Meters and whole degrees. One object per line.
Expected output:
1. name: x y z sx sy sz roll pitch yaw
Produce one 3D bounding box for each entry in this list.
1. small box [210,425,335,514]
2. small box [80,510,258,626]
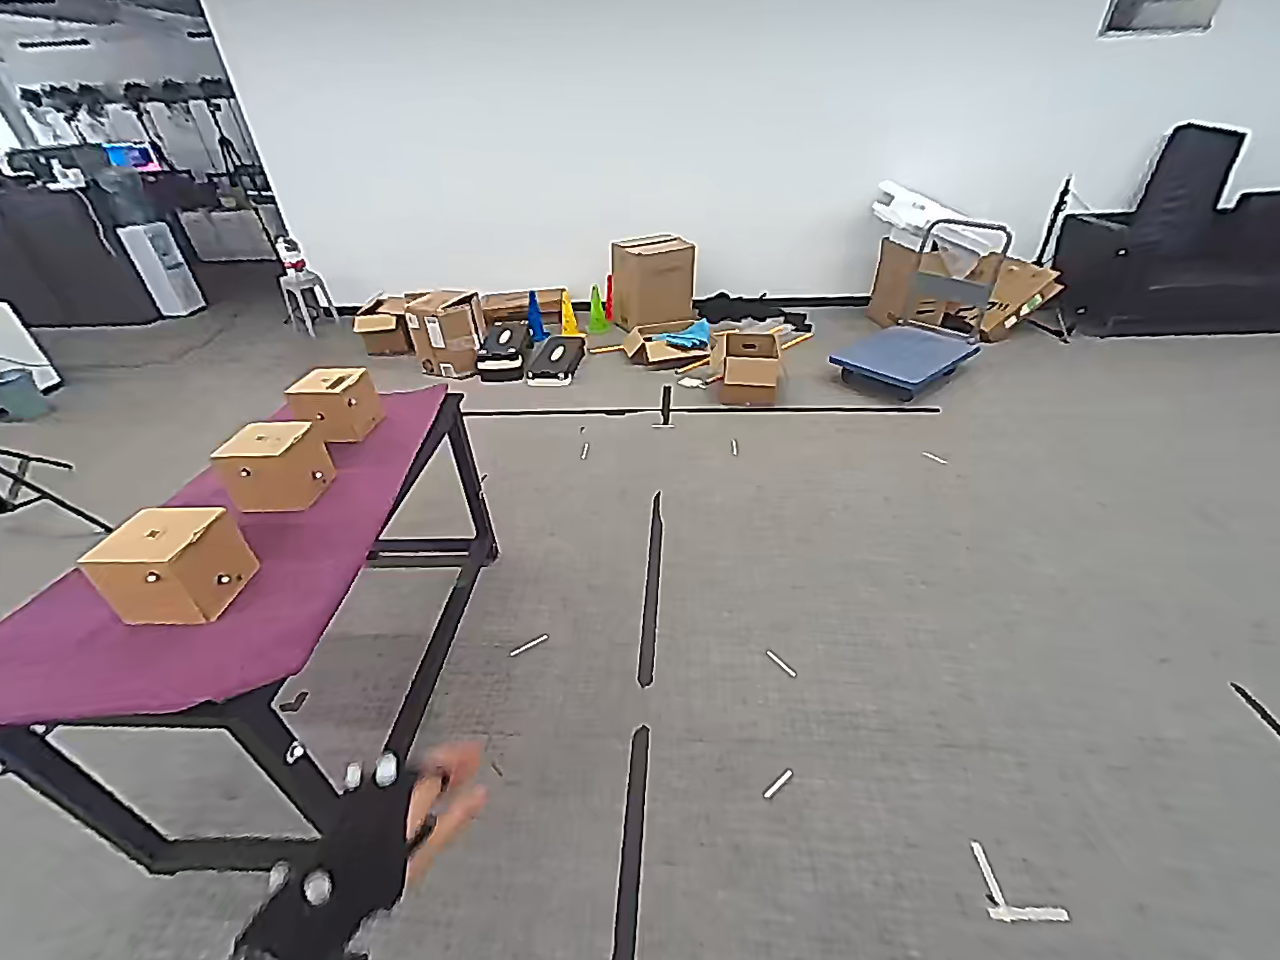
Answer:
1. small box: -0.921 -0.026 1.374 0.179 0.176 0.168 -1 36 2
2. small box: -0.927 0.177 1.085 0.179 0.176 0.168 -1 34 1
